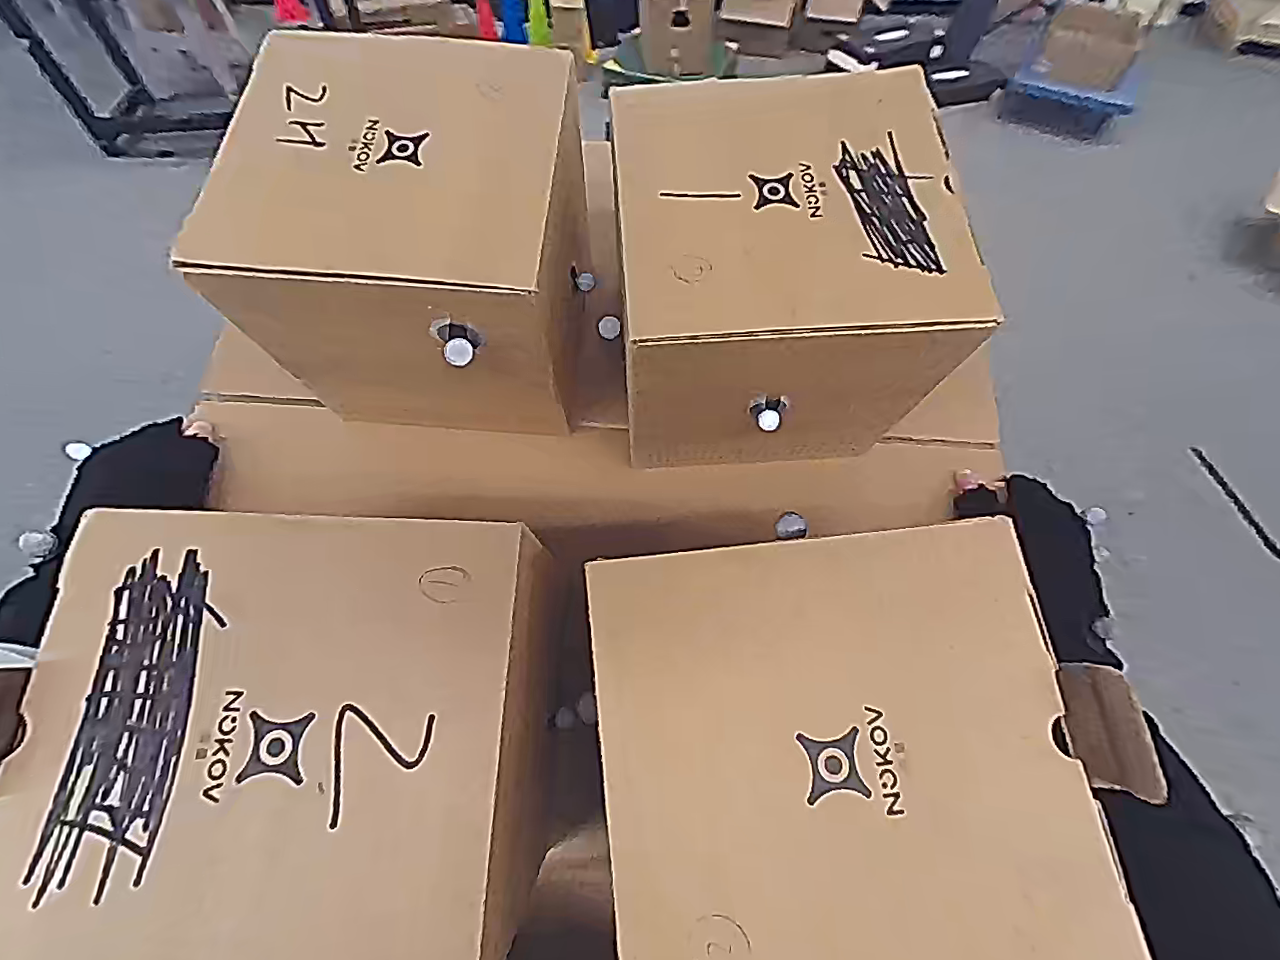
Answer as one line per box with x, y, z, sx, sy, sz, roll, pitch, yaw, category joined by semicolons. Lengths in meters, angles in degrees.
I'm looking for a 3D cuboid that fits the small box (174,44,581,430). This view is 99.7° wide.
-0.138;-0.143;0.365;0.179;0.176;0.168;4;70;1;small box

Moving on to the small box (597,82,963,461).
0.065;-0.120;0.359;0.179;0.176;0.168;-4;71;-1;small box
